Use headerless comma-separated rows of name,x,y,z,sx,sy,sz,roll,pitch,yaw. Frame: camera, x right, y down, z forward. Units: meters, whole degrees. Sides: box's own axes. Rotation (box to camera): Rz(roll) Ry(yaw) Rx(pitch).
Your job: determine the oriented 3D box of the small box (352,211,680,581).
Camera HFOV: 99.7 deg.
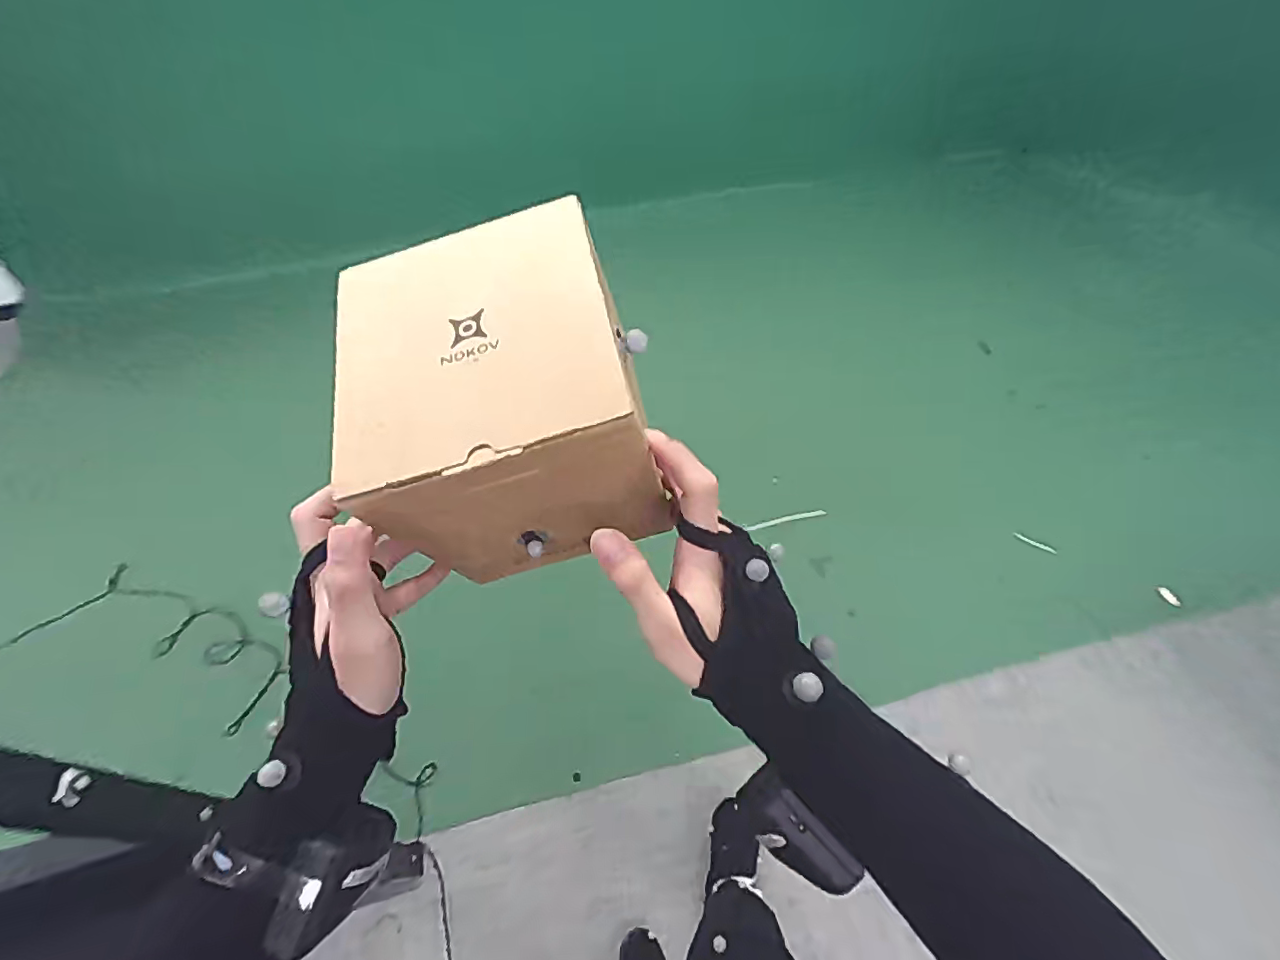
small box,-0.075,-0.046,0.388,0.168,0.176,0.179,-16,64,4
